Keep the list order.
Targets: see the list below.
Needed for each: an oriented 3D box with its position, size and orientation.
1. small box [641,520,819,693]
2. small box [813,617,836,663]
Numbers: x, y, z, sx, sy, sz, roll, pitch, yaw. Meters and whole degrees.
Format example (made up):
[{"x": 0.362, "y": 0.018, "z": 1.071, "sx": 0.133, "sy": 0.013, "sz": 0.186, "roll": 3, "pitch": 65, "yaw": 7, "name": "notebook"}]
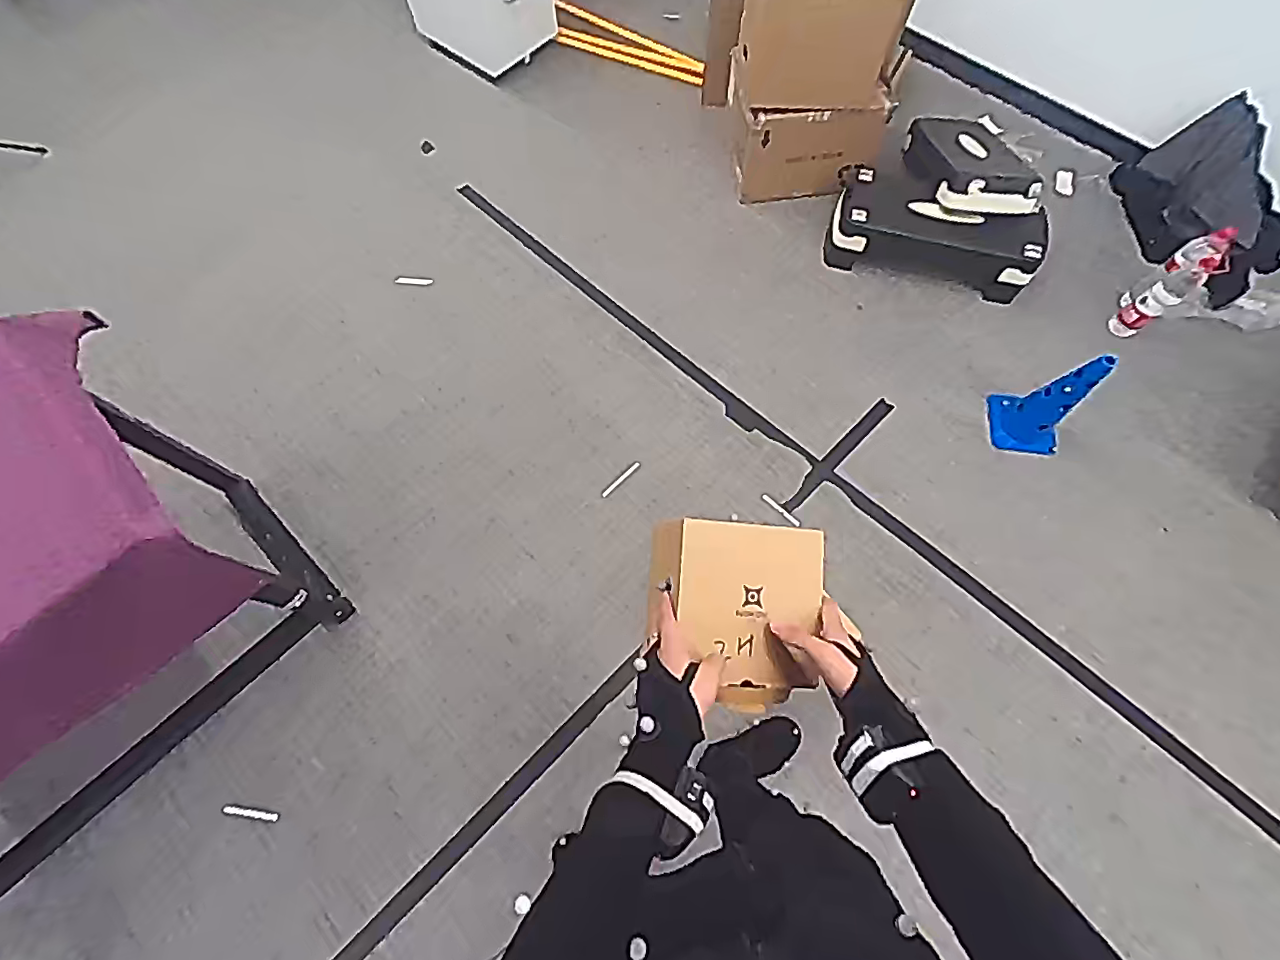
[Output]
[{"x": 0.099, "y": 0.145, "z": 0.660, "sx": 0.168, "sy": 0.176, "sz": 0.179, "roll": 6, "pitch": 84, "yaw": -9, "name": "small box"}, {"x": 0.370, "y": 0.418, "z": 1.406, "sx": 0.179, "sy": 0.176, "sz": 0.168, "roll": -39, "pitch": 73, "yaw": -14, "name": "small box"}]
